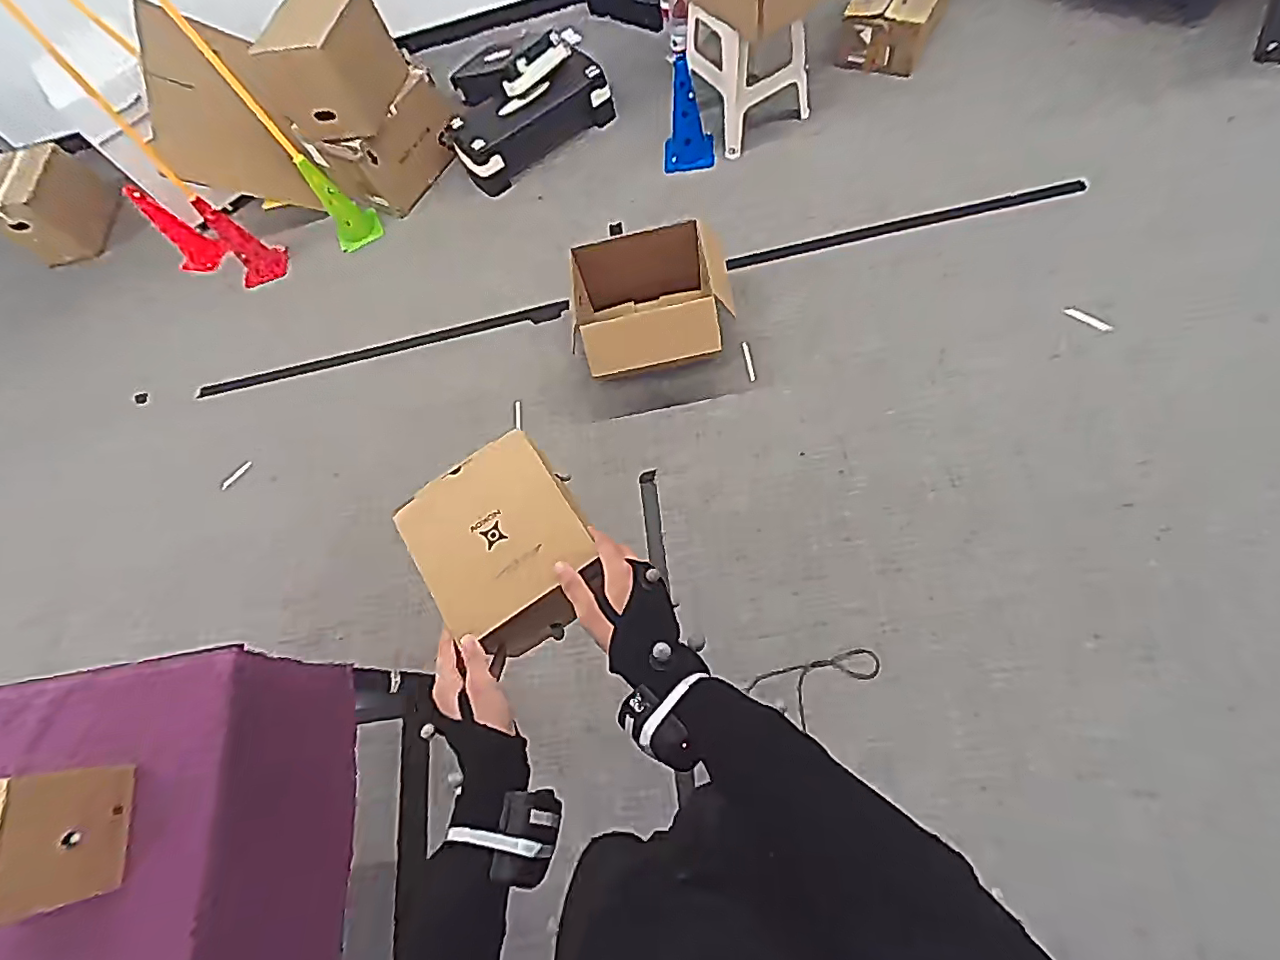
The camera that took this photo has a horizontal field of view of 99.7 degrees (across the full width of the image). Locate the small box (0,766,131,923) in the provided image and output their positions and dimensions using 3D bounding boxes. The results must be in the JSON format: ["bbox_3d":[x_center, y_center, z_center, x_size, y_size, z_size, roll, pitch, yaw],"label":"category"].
[{"bbox_3d":[-0.868,0.510,0.747,0.179,0.176,0.168,-17,66,4],"label":"small box"}]

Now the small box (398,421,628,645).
[{"bbox_3d":[-0.134,0.071,0.620,0.168,0.176,0.179,-34,69,-4],"label":"small box"}]
